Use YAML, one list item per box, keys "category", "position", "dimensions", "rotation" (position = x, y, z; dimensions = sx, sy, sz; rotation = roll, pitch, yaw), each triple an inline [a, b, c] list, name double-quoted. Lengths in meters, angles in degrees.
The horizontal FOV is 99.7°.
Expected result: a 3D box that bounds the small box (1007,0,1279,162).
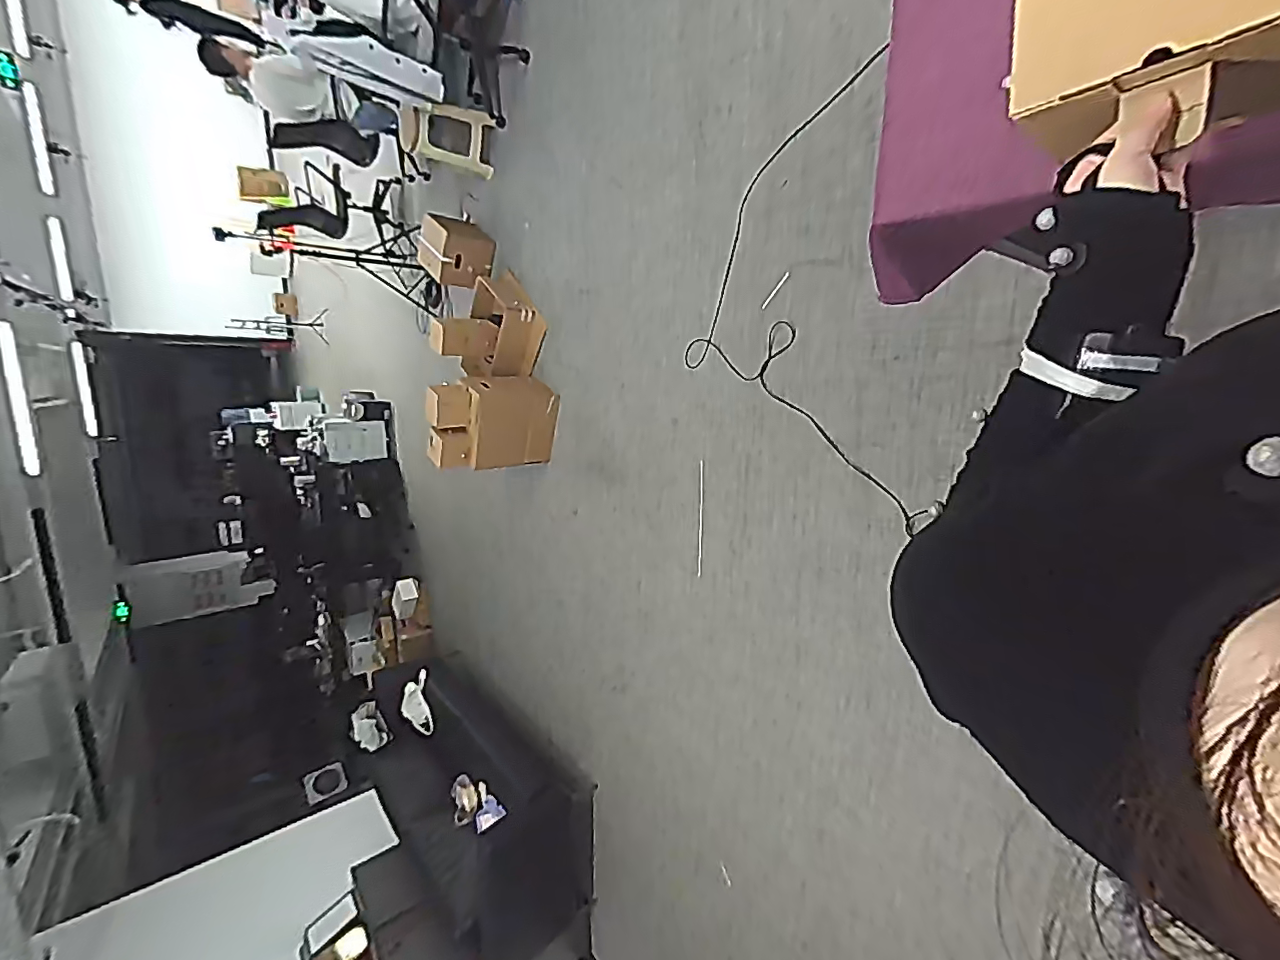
- category: "small box"
  position: [0.400, -0.372, 0.403]
  dimensions: [0.168, 0.176, 0.179]
  rotation: [8, 104, 50]
